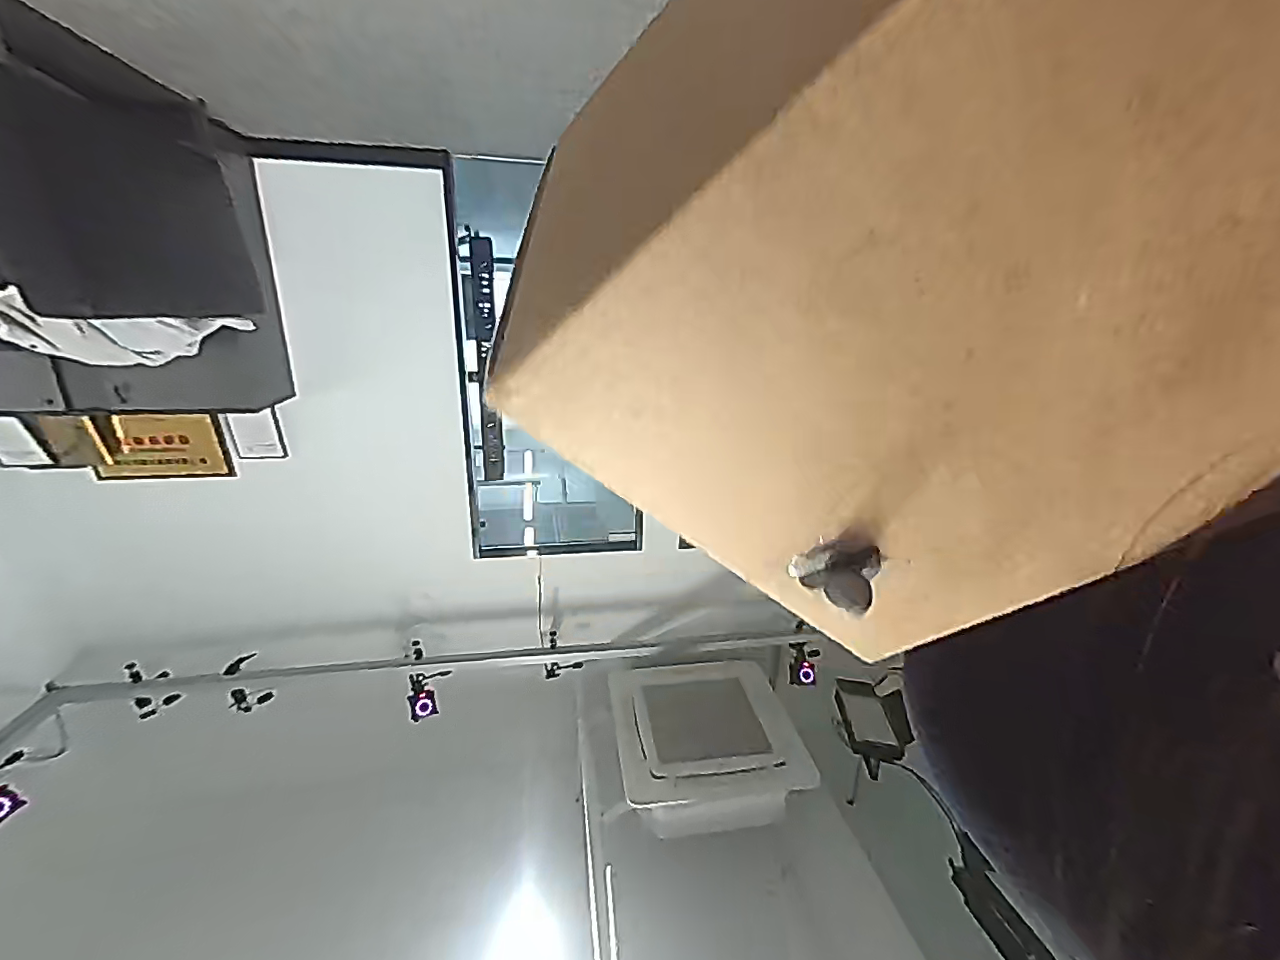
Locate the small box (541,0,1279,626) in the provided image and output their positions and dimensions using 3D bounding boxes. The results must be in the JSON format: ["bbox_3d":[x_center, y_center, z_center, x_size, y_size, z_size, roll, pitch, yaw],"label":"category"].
[{"bbox_3d":[0.091,-0.083,0.178,0.168,0.176,0.179,36,-146,-33],"label":"small box"}]
